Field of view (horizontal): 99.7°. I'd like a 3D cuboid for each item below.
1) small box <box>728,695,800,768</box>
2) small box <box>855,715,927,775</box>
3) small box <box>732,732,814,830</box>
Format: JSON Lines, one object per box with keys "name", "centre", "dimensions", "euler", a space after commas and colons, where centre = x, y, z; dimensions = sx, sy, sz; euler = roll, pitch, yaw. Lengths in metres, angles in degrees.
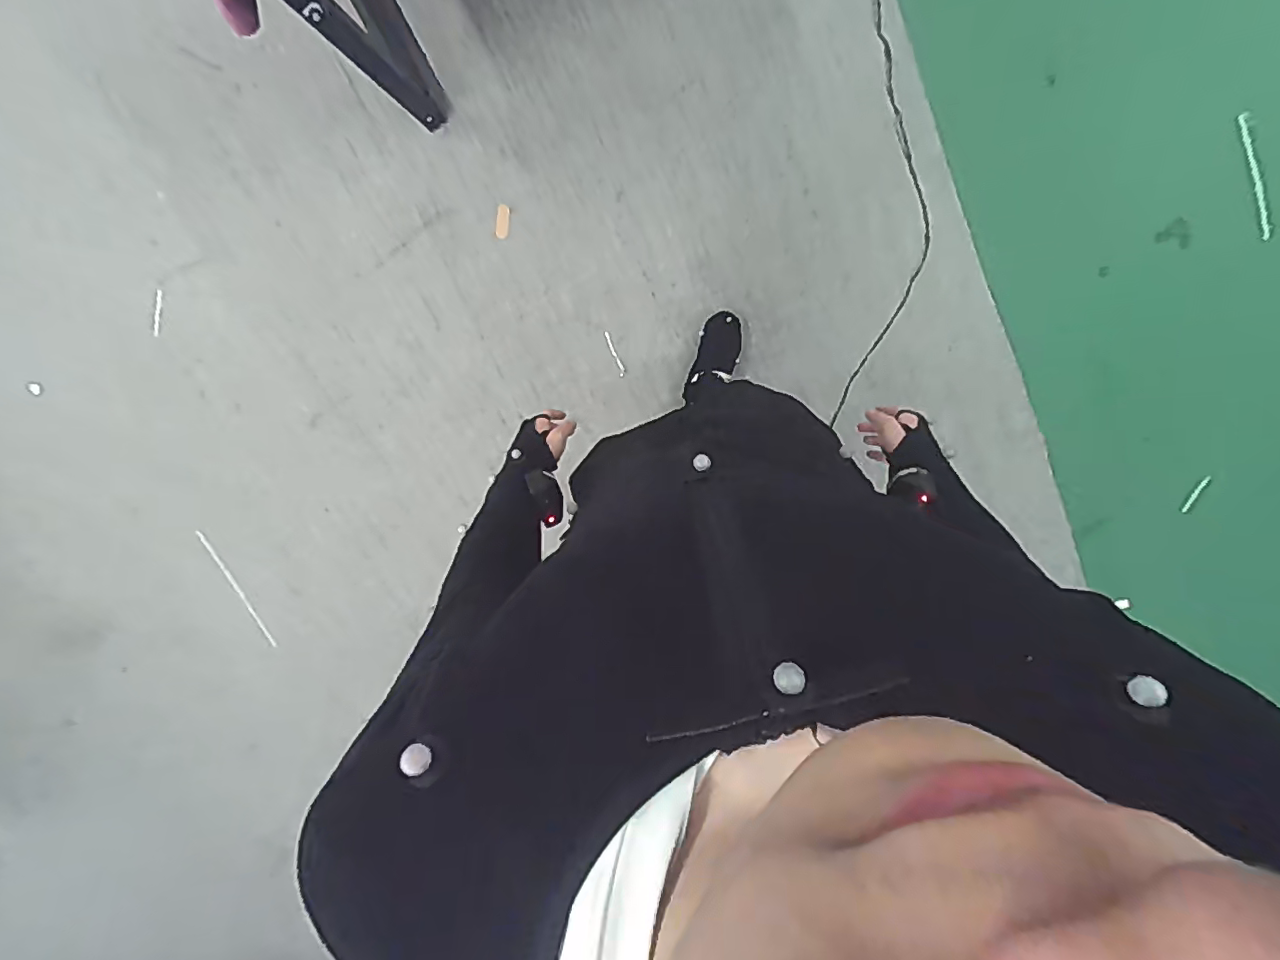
{"name": "small box", "centre": [0.388, 0.822, 1.725], "dimensions": [0.179, 0.176, 0.168], "euler": [-21, 101, 9]}
{"name": "small box", "centre": [0.798, 0.879, 1.705], "dimensions": [0.179, 0.176, 0.168], "euler": [-22, 101, 9]}
{"name": "small box", "centre": [0.379, 0.863, 1.566], "dimensions": [0.179, 0.176, 0.168], "euler": [-18, 101, 8]}
